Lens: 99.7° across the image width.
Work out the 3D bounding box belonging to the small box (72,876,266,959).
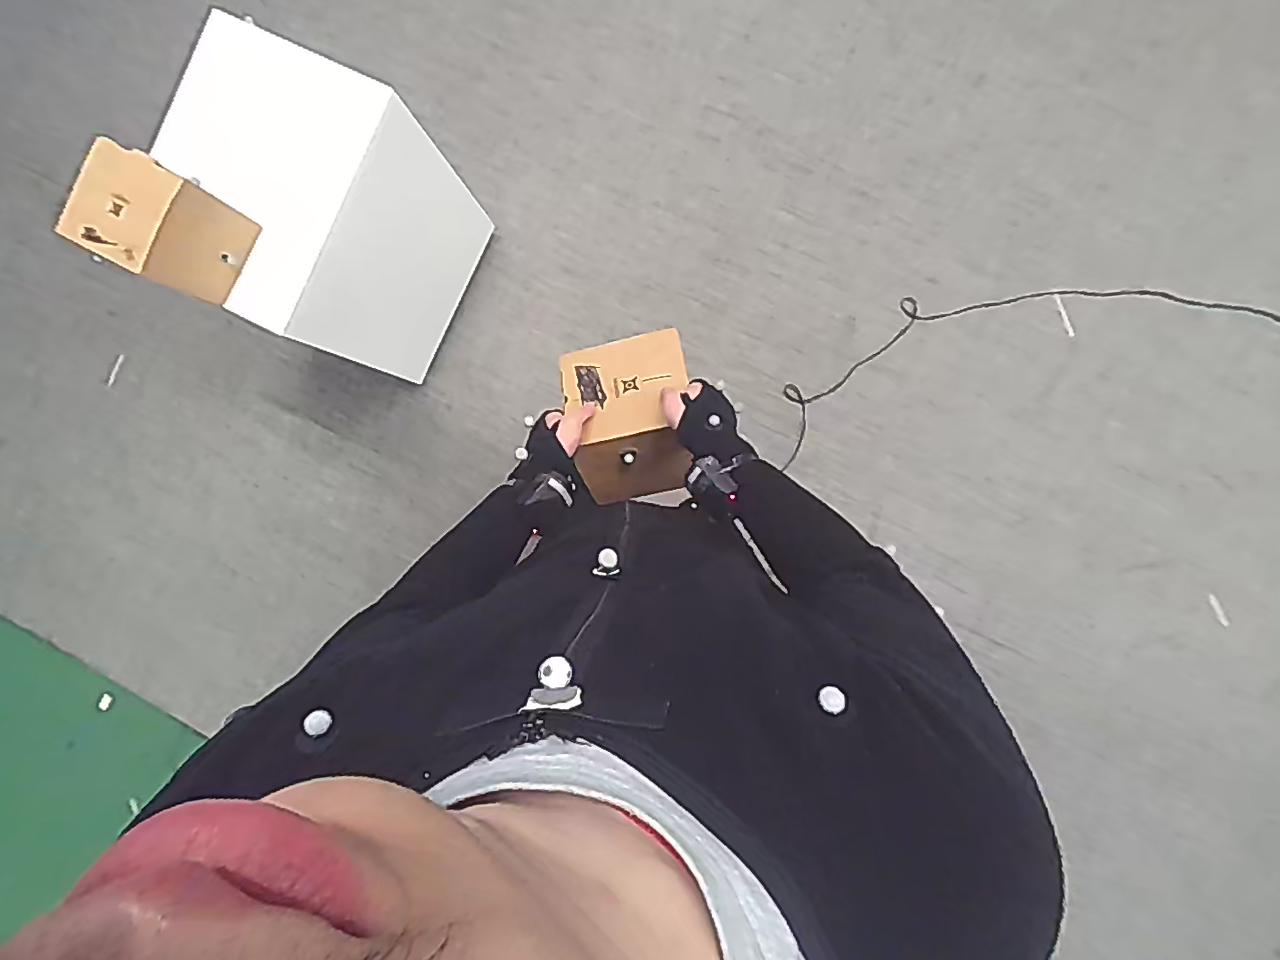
[{"bbox_3d":[-0.733,0.760,0.824,0.179,0.176,0.168,27,94,3],"label":"small box"}]

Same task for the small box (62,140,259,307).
[{"bbox_3d":[-0.823,-0.438,0.950,0.168,0.176,0.179,27,91,4],"label":"small box"}]

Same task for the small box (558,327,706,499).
[{"bbox_3d":[-0.008,-0.088,0.791,0.179,0.176,0.168,-11,59,6],"label":"small box"}]
